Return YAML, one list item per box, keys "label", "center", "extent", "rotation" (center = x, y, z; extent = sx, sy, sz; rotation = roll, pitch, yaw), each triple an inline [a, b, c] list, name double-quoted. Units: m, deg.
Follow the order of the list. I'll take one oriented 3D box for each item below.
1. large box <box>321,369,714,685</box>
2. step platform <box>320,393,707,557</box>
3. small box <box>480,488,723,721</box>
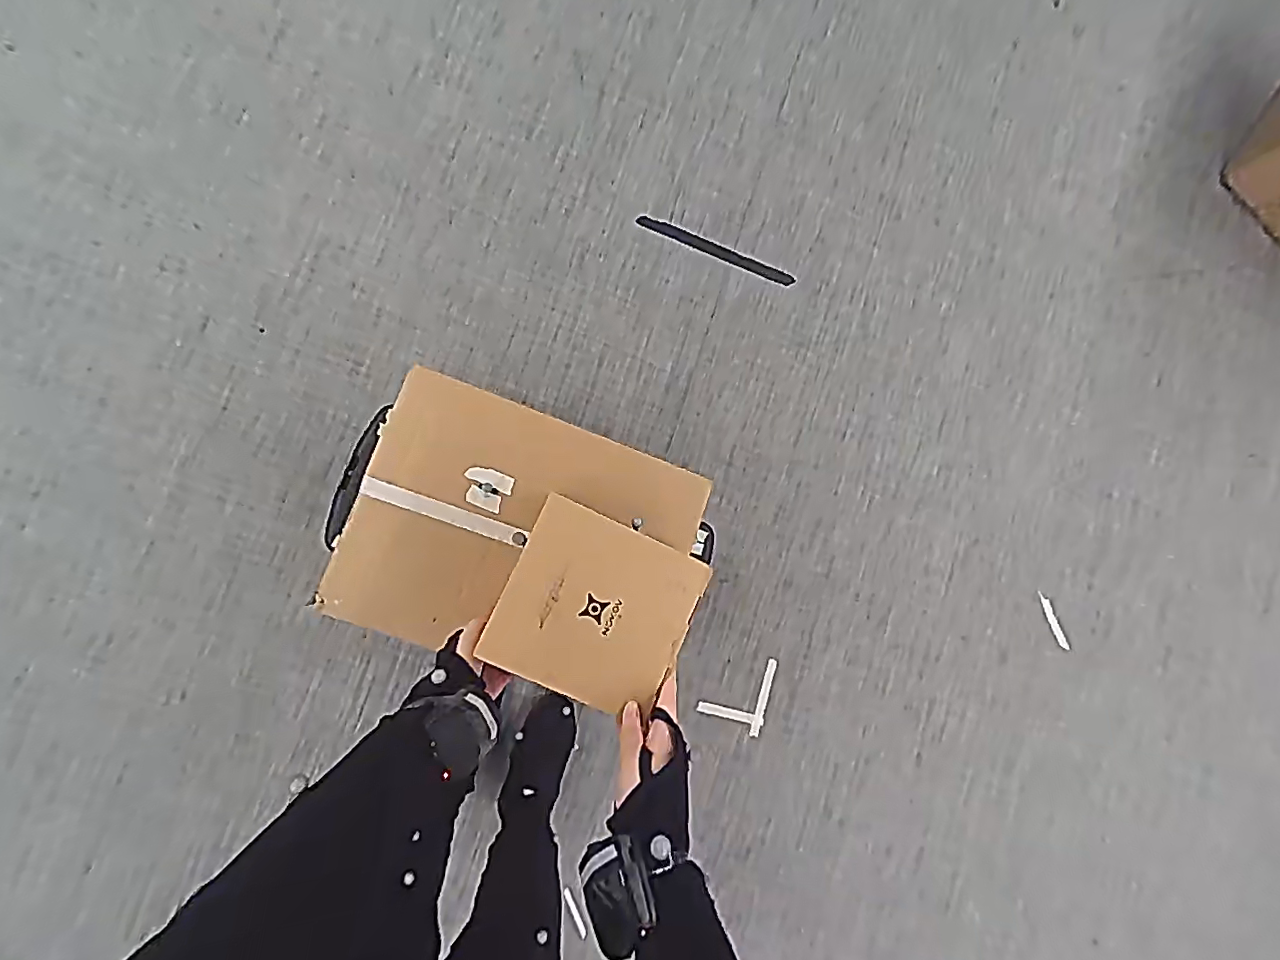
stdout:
- label: "large box"
  center: [-0.156, 0.080, 0.807]
  extent: [0.408, 0.320, 0.320]
  rotation: [21, 83, -7]
- label: "step platform"
  center: [-0.218, 0.103, 1.037]
  extent: [0.684, 0.204, 0.286]
  rotation: [26, 83, -7]
- label: "small box"
  center: [-0.044, 0.117, 0.575]
  extent: [0.179, 0.176, 0.168]
  rotation: [27, 84, -7]
